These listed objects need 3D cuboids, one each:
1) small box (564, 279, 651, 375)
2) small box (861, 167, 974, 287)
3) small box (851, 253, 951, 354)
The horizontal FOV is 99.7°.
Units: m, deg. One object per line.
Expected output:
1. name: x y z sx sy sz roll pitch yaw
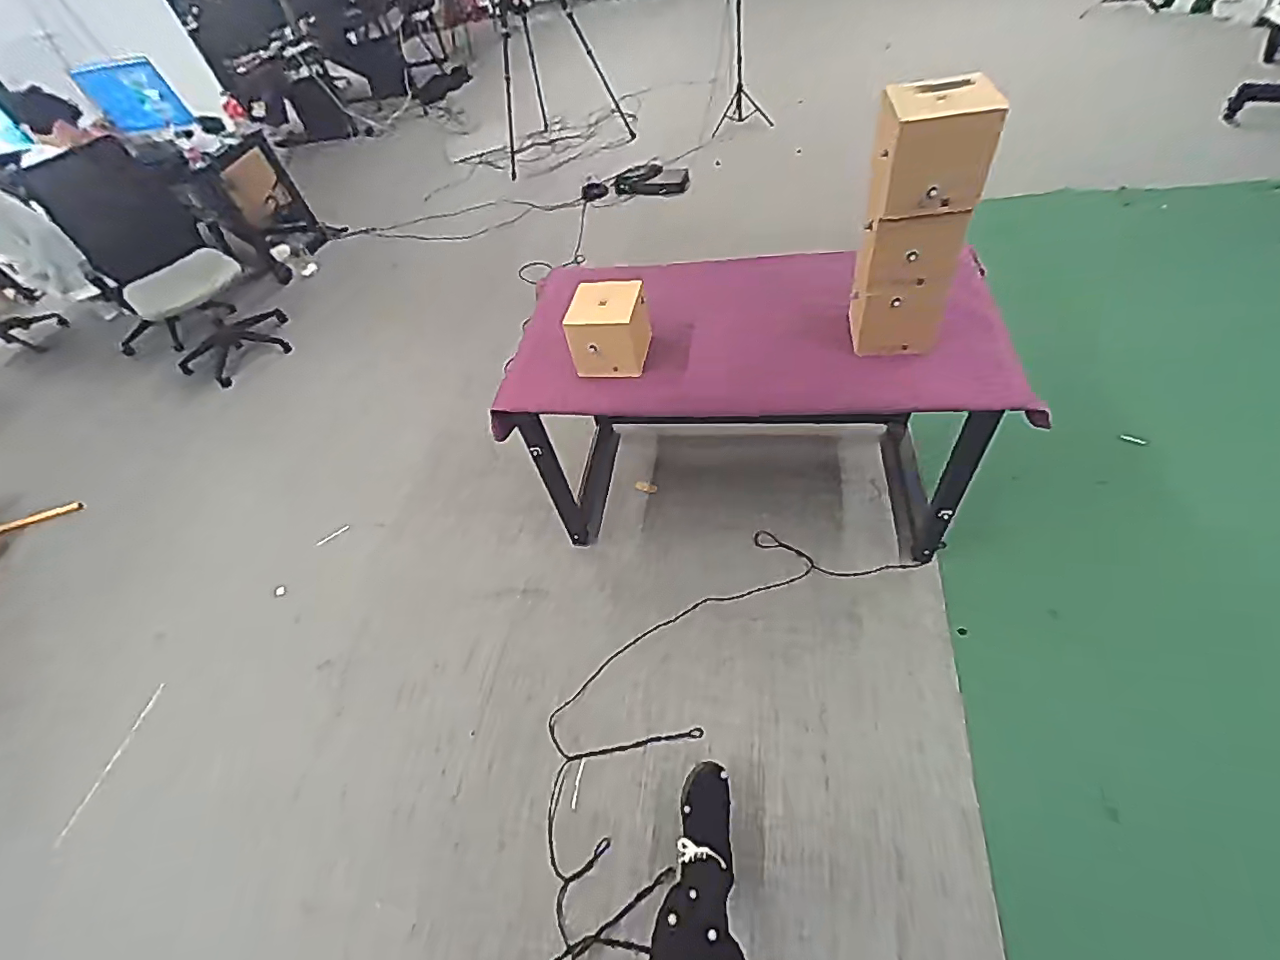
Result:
1. small box: -0.072 -0.379 1.358 0.168 0.176 0.179 2 52 14
2. small box: 0.561 -0.514 1.117 0.168 0.176 0.179 2 51 13
3. small box: 0.588 -0.410 1.241 0.168 0.176 0.179 0 51 13
